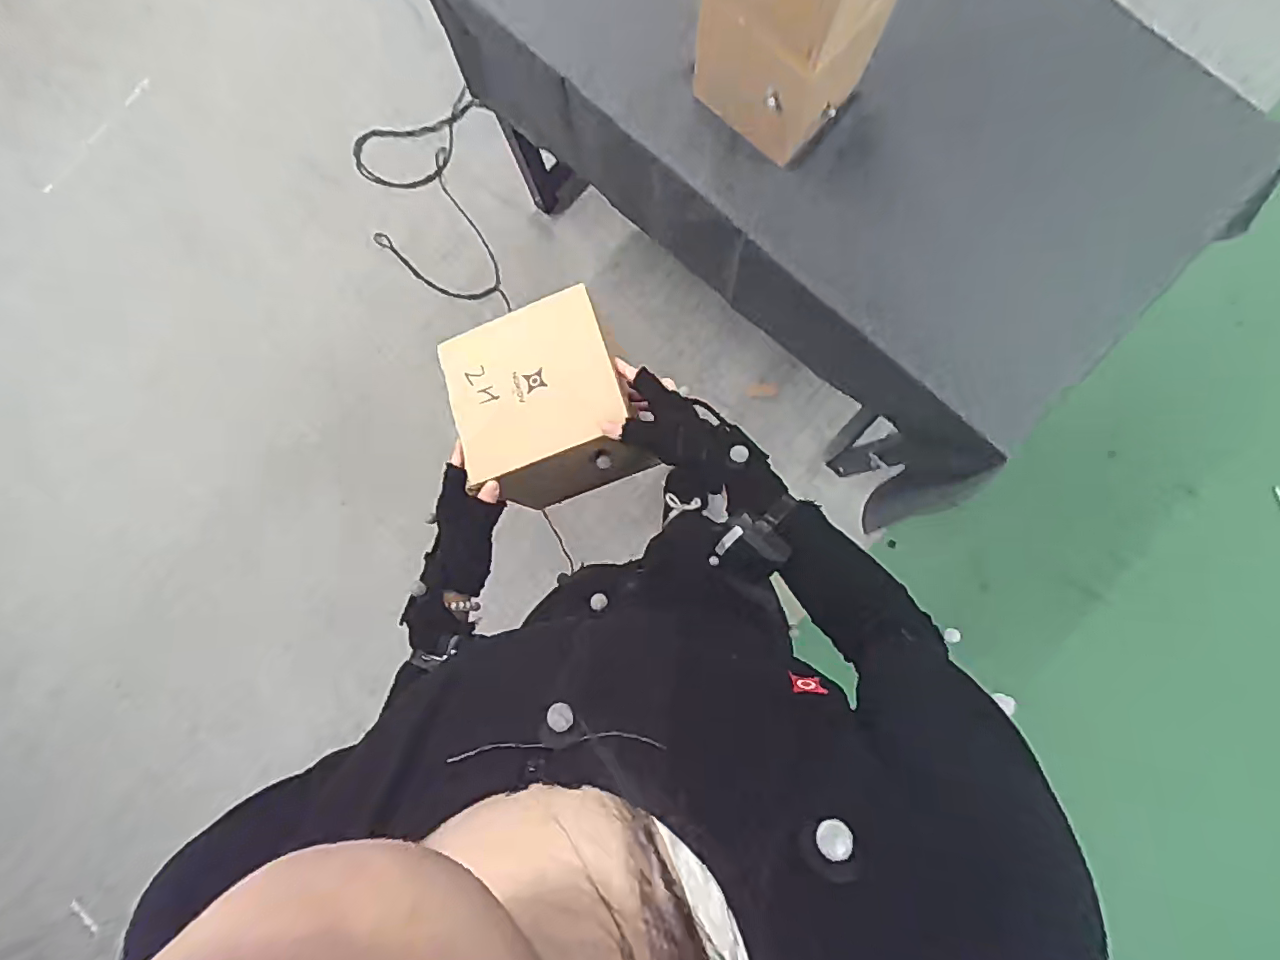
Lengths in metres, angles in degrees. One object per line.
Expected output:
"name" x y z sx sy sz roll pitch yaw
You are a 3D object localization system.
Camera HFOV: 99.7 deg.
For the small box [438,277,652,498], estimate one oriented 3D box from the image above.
"small box" -0.094 -0.091 0.619 0.179 0.176 0.168 -21 75 9
